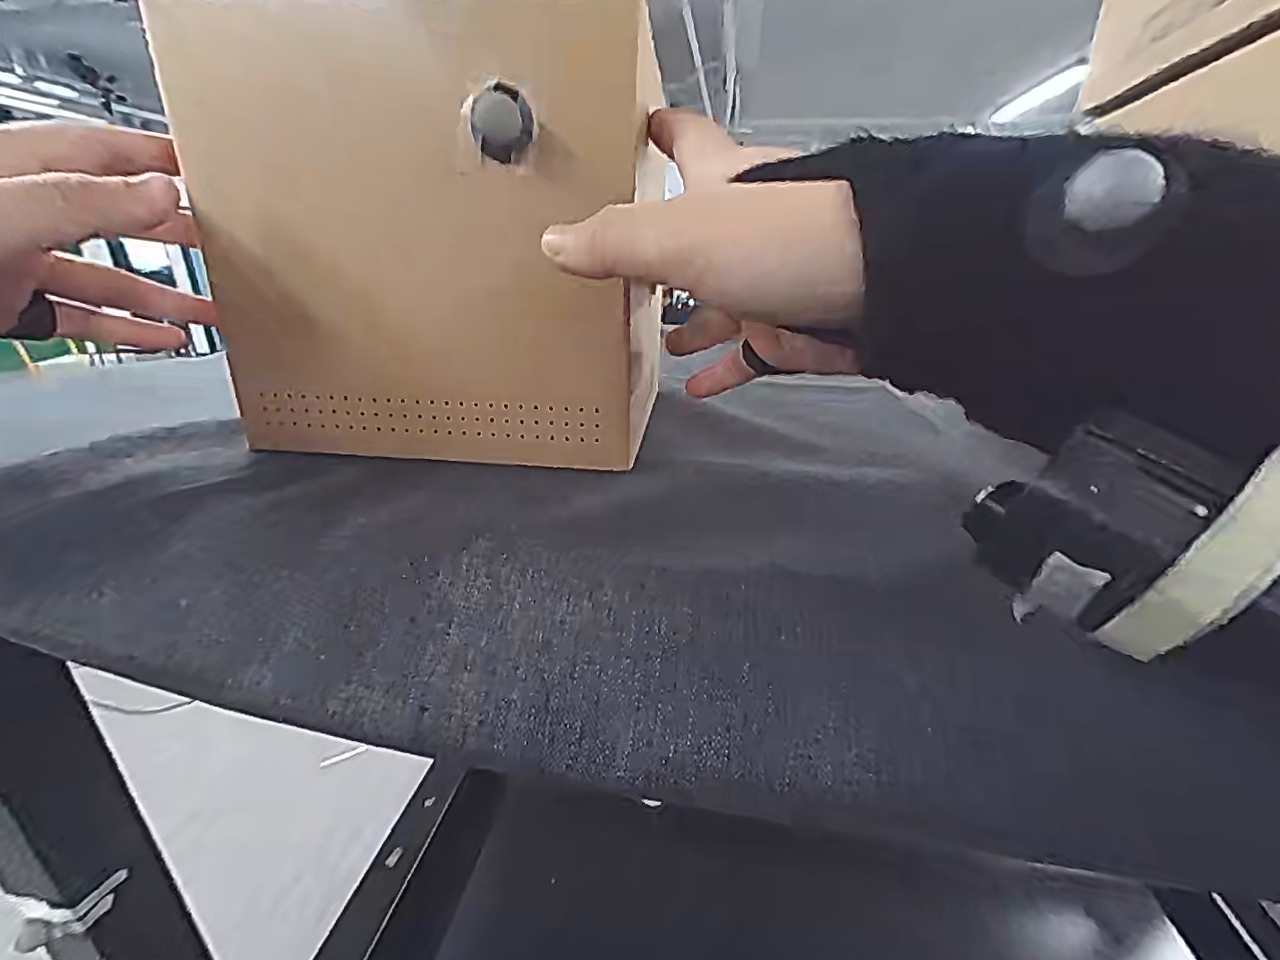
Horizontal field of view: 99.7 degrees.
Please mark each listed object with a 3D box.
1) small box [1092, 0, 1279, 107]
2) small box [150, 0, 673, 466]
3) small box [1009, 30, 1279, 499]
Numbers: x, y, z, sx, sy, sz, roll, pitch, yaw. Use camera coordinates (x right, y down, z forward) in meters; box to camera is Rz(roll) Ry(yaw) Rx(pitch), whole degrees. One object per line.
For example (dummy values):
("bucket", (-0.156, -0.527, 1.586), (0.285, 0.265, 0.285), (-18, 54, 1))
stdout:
("small box", (0.303, -0.235, 0.173), (0.179, 0.176, 0.168), (5, 21, 13))
("small box", (-0.077, -0.111, 0.281), (0.179, 0.176, 0.168), (3, 21, 5))
("small box", (0.304, -0.086, 0.242), (0.168, 0.176, 0.179), (6, 22, 12))
